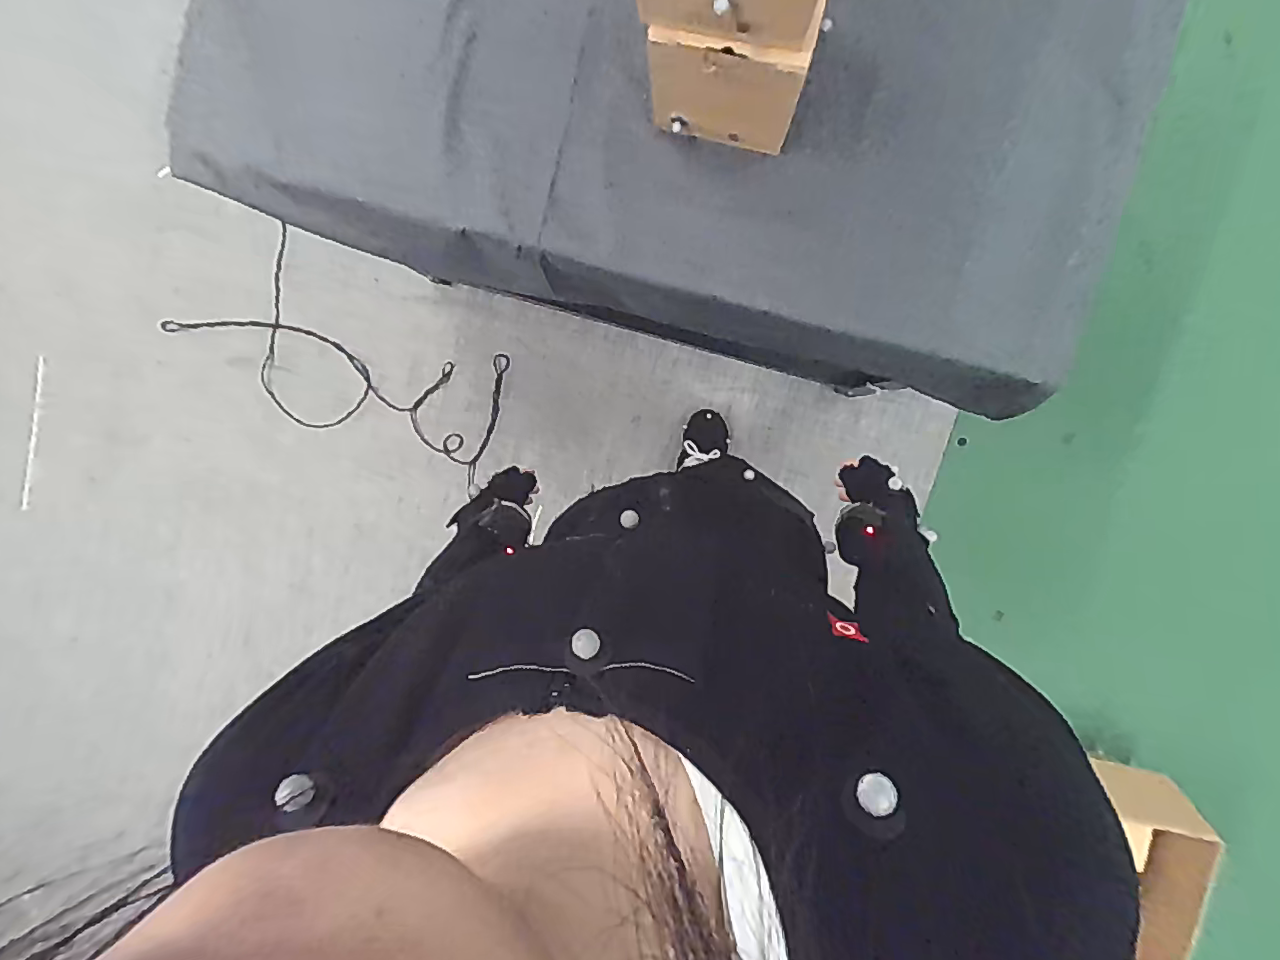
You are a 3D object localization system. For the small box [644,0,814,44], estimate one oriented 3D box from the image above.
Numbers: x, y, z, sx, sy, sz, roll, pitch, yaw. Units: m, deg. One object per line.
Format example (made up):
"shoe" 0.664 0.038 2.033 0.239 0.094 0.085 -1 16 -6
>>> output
"small box" 0.088 -0.511 0.435 0.168 0.176 0.179 13 98 3

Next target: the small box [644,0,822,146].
"small box" 0.109 -0.511 0.600 0.168 0.176 0.179 15 96 3
